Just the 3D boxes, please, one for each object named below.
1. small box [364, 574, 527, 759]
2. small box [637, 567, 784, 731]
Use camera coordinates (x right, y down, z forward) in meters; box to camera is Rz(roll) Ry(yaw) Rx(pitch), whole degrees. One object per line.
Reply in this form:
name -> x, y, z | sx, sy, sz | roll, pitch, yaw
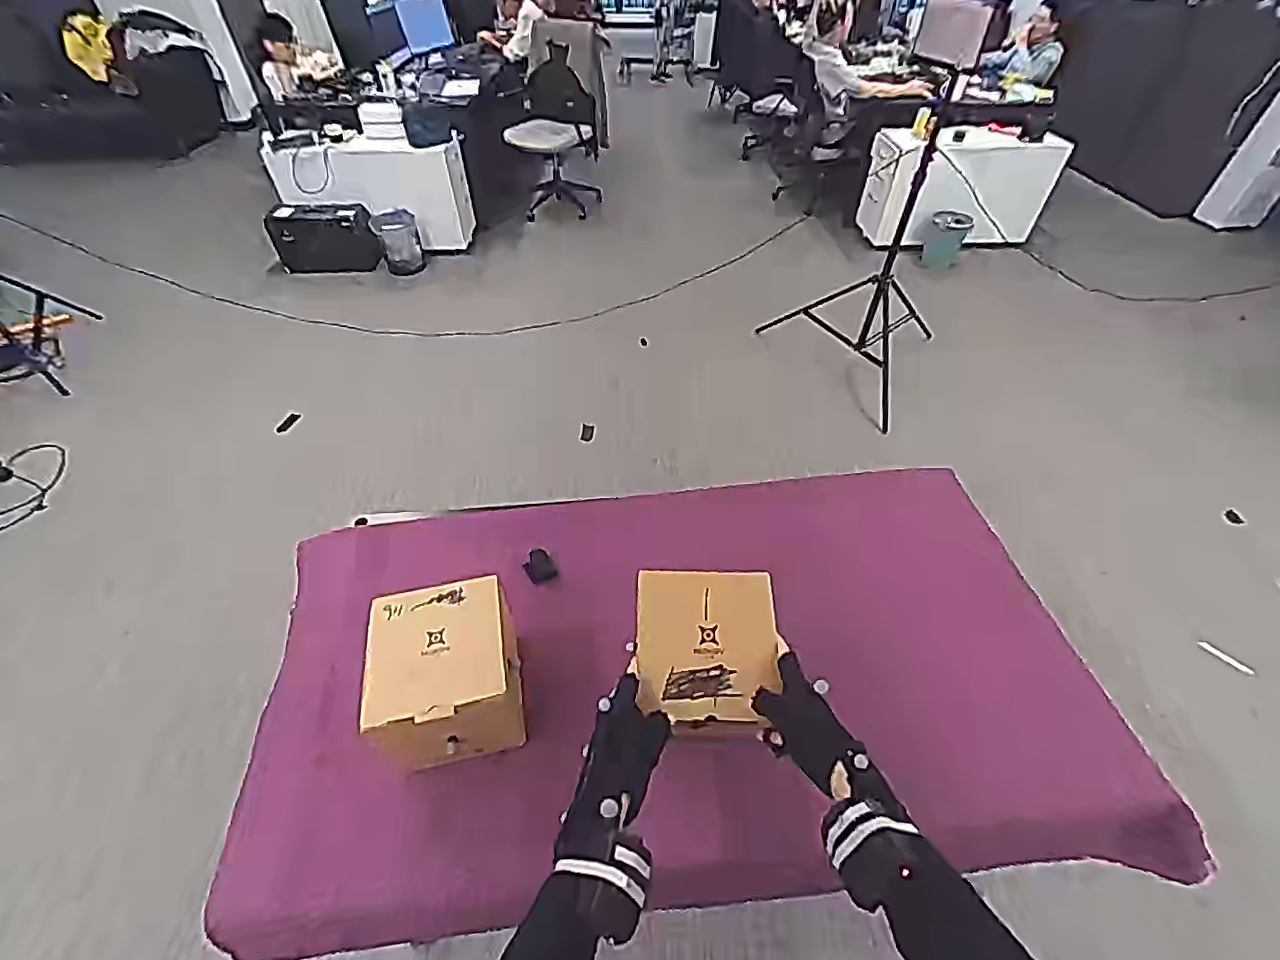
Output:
small box -> -0.253, 0.258, 0.735 | 0.168, 0.176, 0.179 | -9, 48, -10
small box -> 0.081, 0.226, 0.707 | 0.168, 0.176, 0.179 | 1, 60, 0
